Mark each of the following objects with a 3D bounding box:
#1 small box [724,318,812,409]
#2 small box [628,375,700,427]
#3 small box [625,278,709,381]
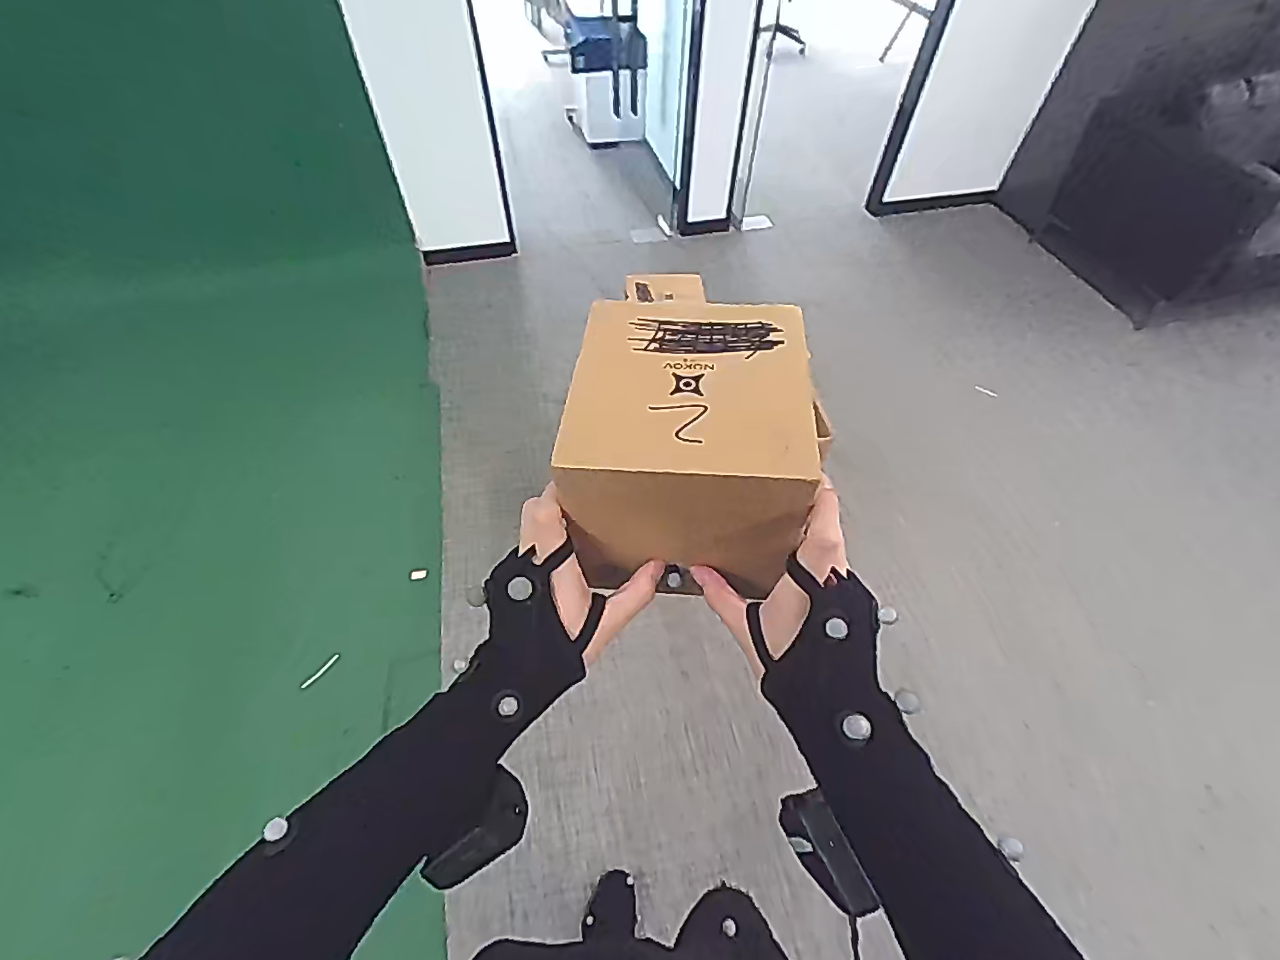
[{"bbox_3d":[0.326,-0.298,1.418,0.168,0.176,0.179,-5,53,-6],"label":"small box"},{"bbox_3d":[0.055,-0.247,1.376,0.168,0.176,0.179,-4,53,-4],"label":"small box"},{"bbox_3d":[0.056,-0.343,1.242,0.179,0.176,0.168,-1,53,-3],"label":"small box"}]
